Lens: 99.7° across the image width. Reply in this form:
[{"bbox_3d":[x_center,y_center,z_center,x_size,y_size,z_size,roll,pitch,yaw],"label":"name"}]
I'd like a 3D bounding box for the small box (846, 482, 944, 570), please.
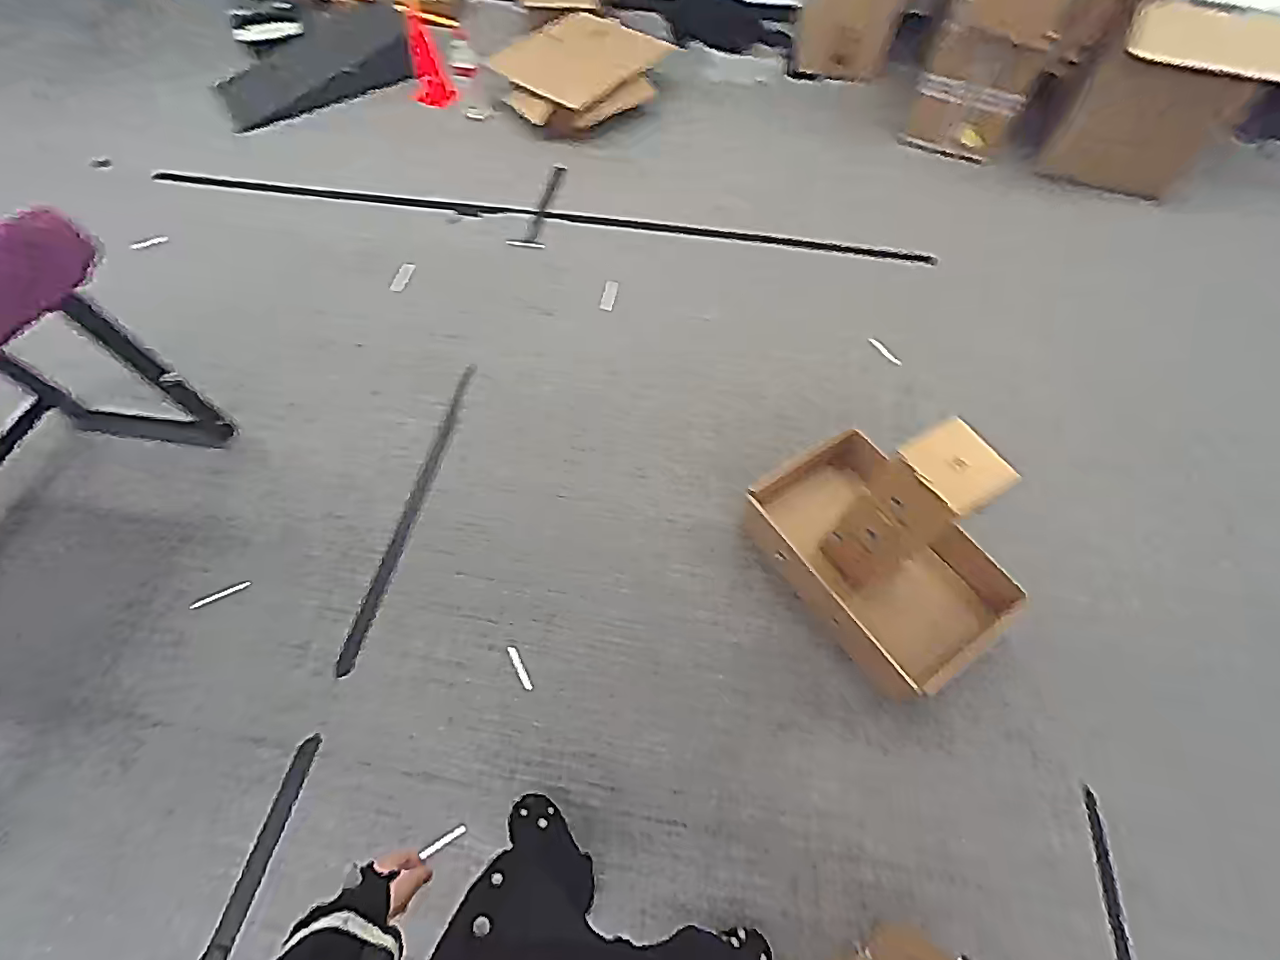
[{"bbox_3d":[0.617,0.090,1.283,0.179,0.176,0.168,-26,65,-14],"label":"small box"}]

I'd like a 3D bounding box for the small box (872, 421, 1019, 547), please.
[{"bbox_3d":[0.630,0.012,1.139,0.179,0.176,0.168,-27,65,-15],"label":"small box"}]
